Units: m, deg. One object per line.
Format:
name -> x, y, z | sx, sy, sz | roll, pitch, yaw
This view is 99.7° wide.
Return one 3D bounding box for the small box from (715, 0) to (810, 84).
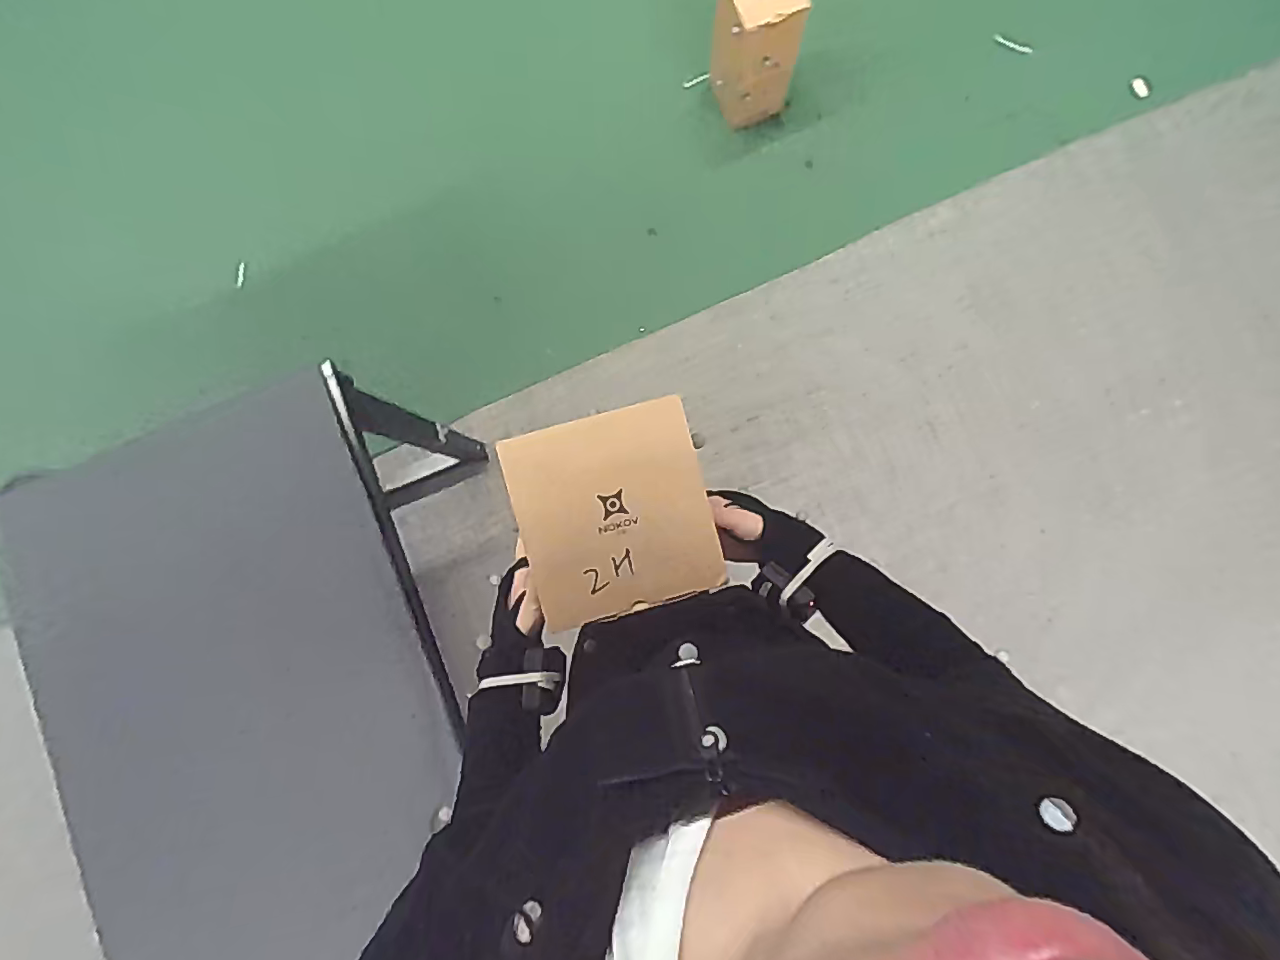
small box -> 0.298, -1.157, 1.358 | 0.168, 0.176, 0.179 | -23, 84, 1
